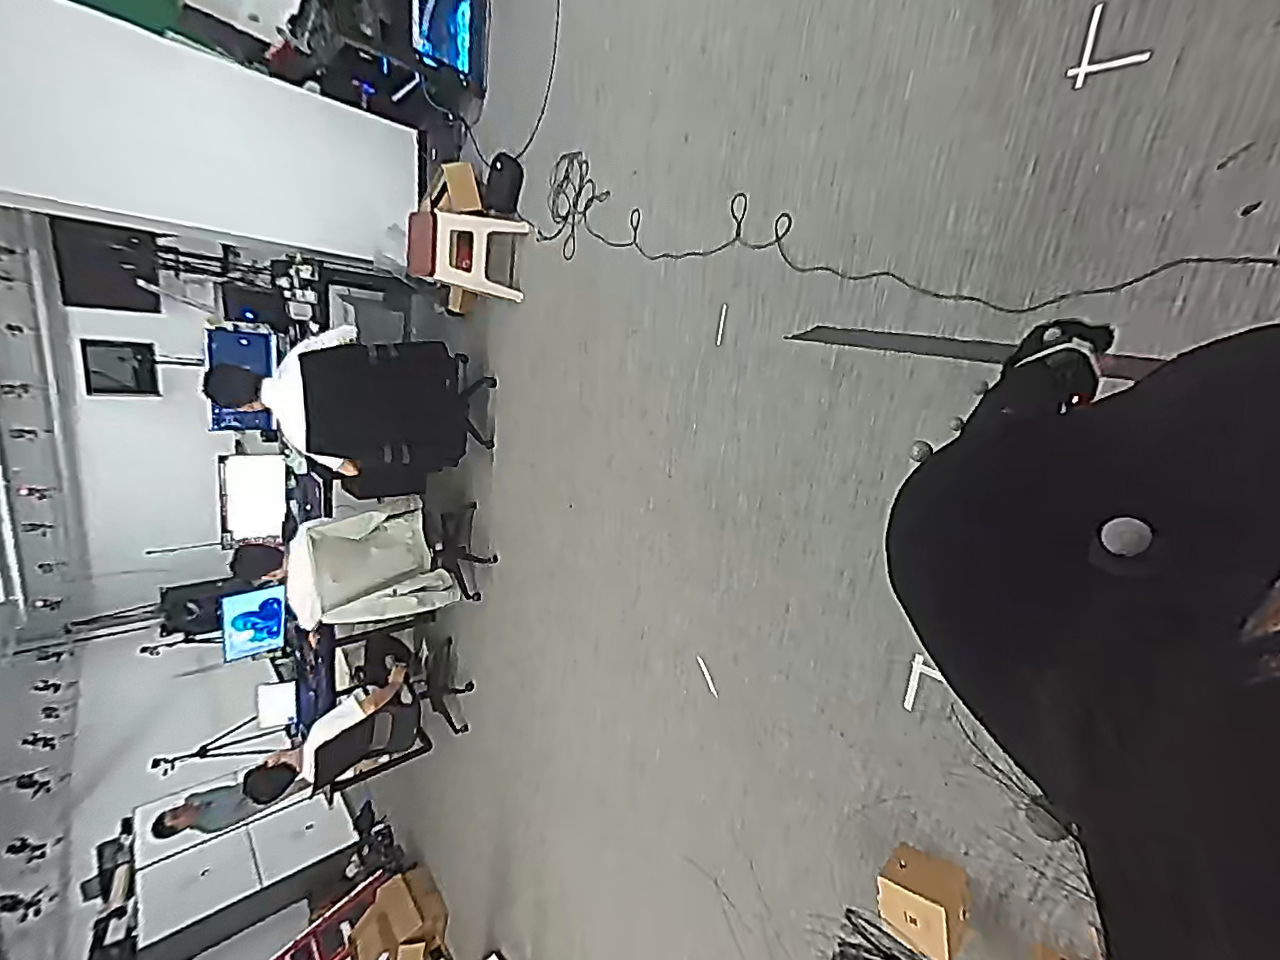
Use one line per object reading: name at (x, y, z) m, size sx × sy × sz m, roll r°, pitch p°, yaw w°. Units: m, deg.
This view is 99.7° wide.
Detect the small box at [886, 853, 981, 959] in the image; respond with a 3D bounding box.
small box at (0.791, 1.156, 1.458) m, size 0.179 × 0.176 × 0.168 m, roll -5°, pitch 92°, yaw 47°
